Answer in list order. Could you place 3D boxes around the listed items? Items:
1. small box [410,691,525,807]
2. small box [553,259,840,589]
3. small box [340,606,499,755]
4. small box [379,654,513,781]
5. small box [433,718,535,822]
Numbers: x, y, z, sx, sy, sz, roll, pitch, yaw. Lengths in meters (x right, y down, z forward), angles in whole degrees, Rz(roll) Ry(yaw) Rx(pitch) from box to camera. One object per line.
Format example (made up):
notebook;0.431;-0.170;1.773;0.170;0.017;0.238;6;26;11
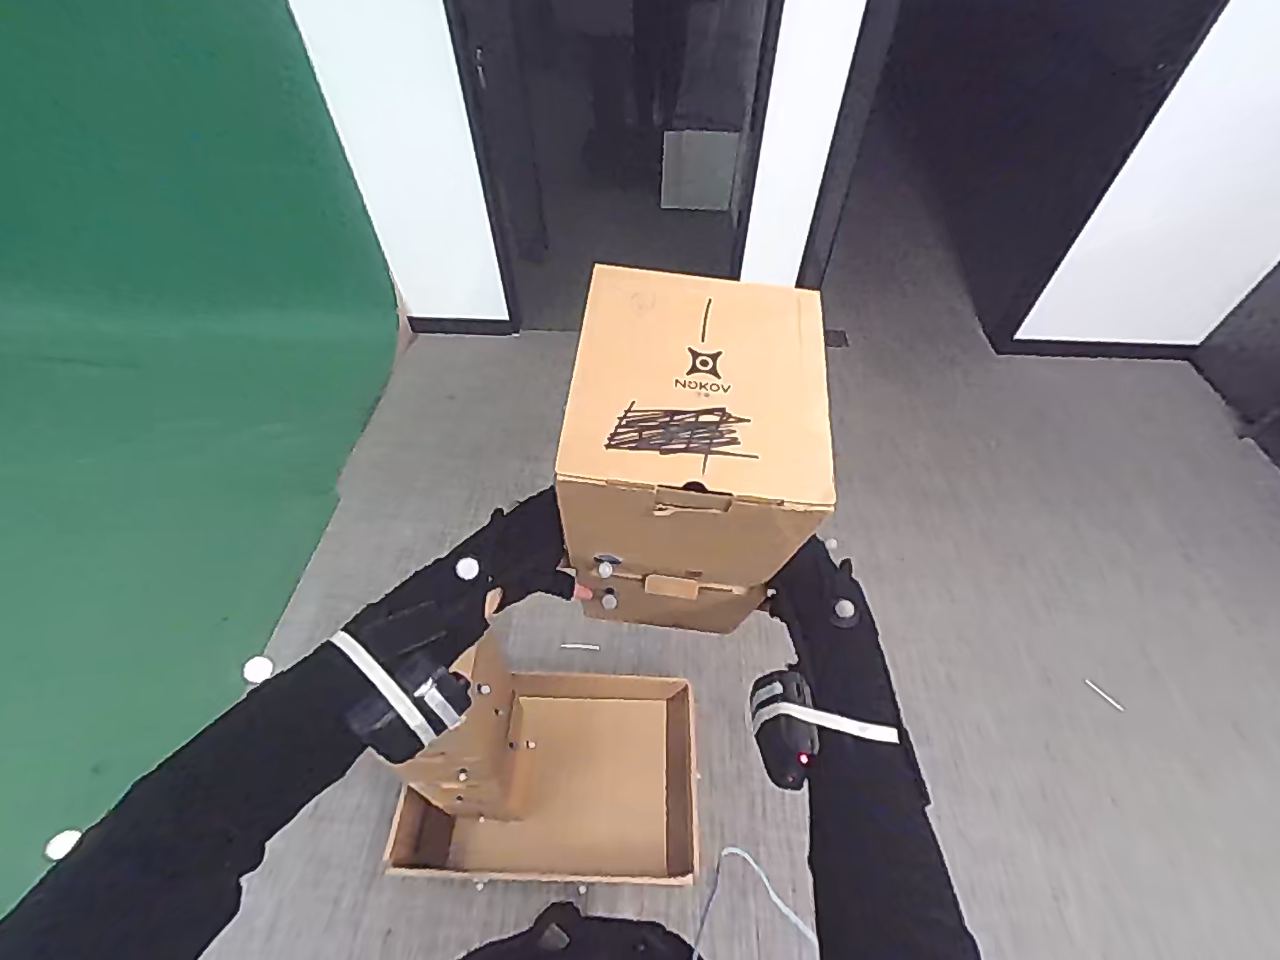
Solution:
small box;-0.329;0.531;1.075;0.168;0.176;0.179;3;50;0
small box;0.038;-0.029;0.412;0.168;0.176;0.179;11;64;-1
small box;-0.321;0.312;0.832;0.168;0.176;0.179;2;50;-2
small box;-0.326;0.420;0.954;0.168;0.176;0.179;2;50;-2
small box;-0.334;0.638;1.198;0.168;0.176;0.179;3;50;1
